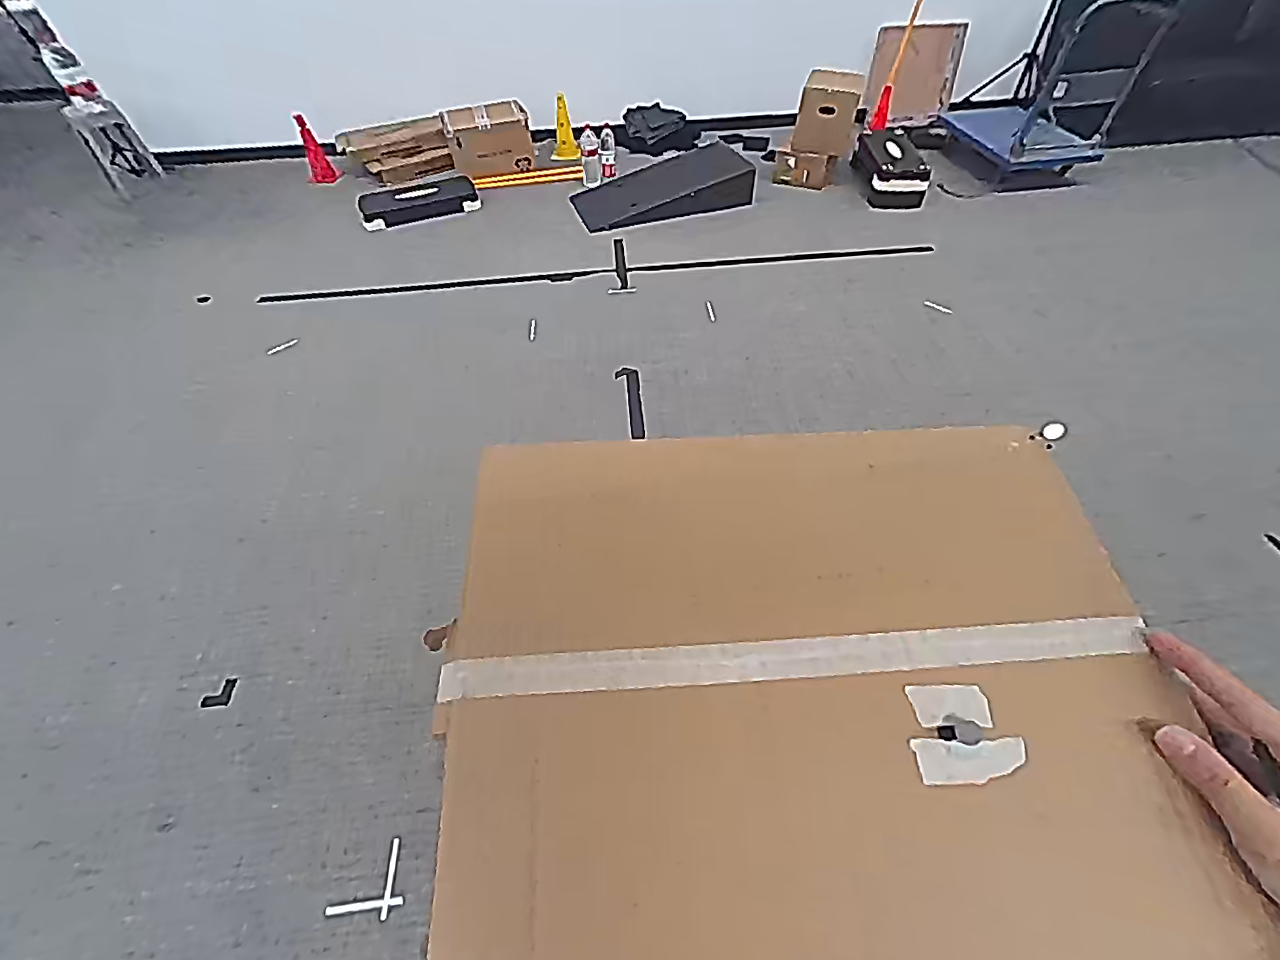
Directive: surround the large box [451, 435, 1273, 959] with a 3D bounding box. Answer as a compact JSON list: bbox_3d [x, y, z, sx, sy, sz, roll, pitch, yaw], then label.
[{"bbox_3d":[0.093,0.183,0.449,0.408,0.320,0.320,-2,60,-4],"label":"large box"}]
